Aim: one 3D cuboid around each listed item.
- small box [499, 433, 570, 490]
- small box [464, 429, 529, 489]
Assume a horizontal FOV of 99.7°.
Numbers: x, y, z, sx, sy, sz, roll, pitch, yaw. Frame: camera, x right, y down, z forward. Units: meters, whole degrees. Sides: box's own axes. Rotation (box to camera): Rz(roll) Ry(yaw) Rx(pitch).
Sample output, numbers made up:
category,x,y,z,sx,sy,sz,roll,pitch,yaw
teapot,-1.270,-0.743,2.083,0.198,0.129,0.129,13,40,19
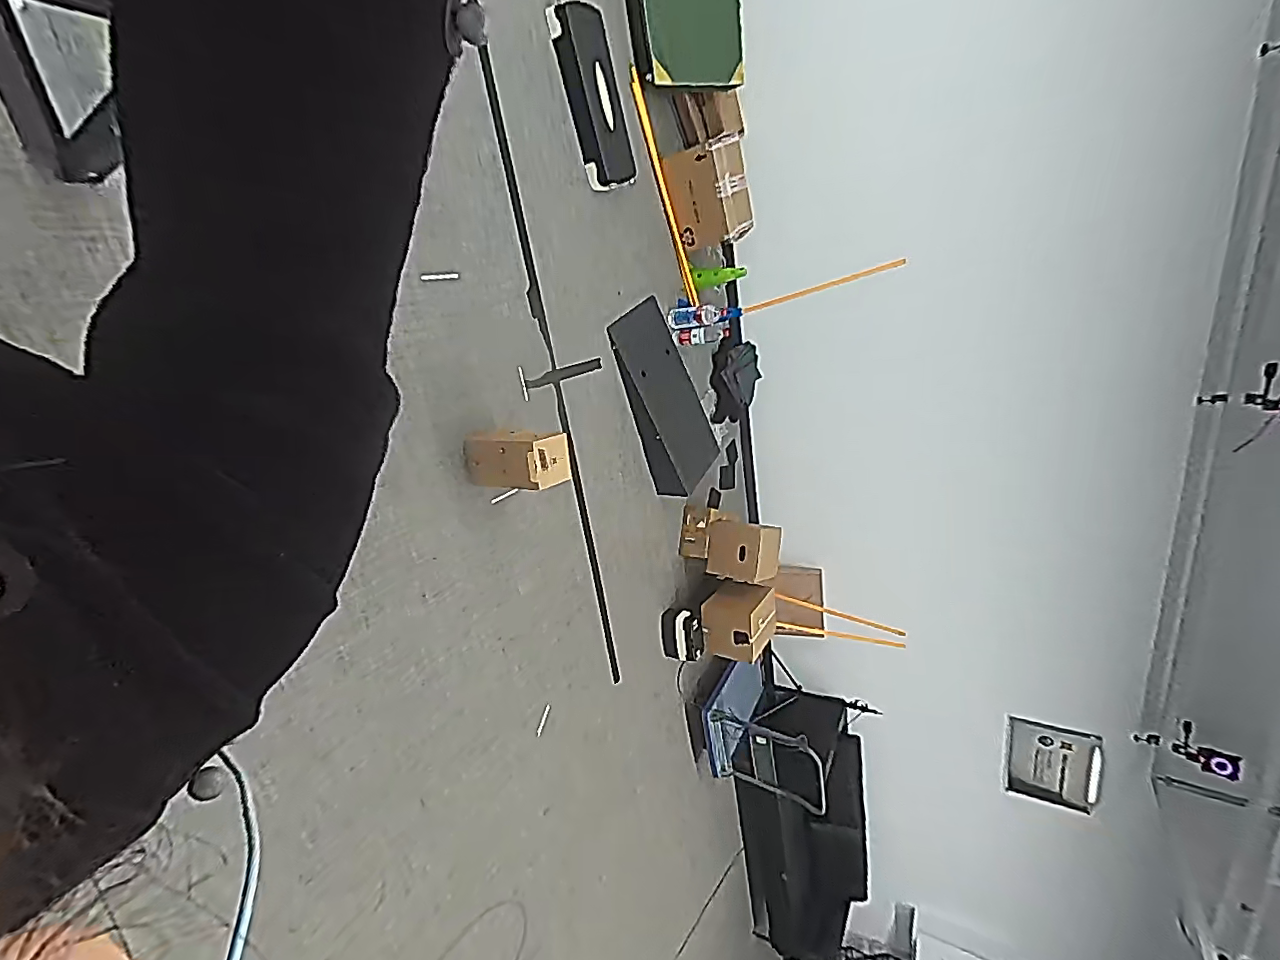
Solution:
category,x,y,z,sx,sy,sz,roll,pitch,yaw
small box,-0.365,-0.067,1.846,0.179,0.176,0.168,-25,114,-55
small box,-0.502,-0.081,1.937,0.168,0.176,0.179,-32,120,-53
